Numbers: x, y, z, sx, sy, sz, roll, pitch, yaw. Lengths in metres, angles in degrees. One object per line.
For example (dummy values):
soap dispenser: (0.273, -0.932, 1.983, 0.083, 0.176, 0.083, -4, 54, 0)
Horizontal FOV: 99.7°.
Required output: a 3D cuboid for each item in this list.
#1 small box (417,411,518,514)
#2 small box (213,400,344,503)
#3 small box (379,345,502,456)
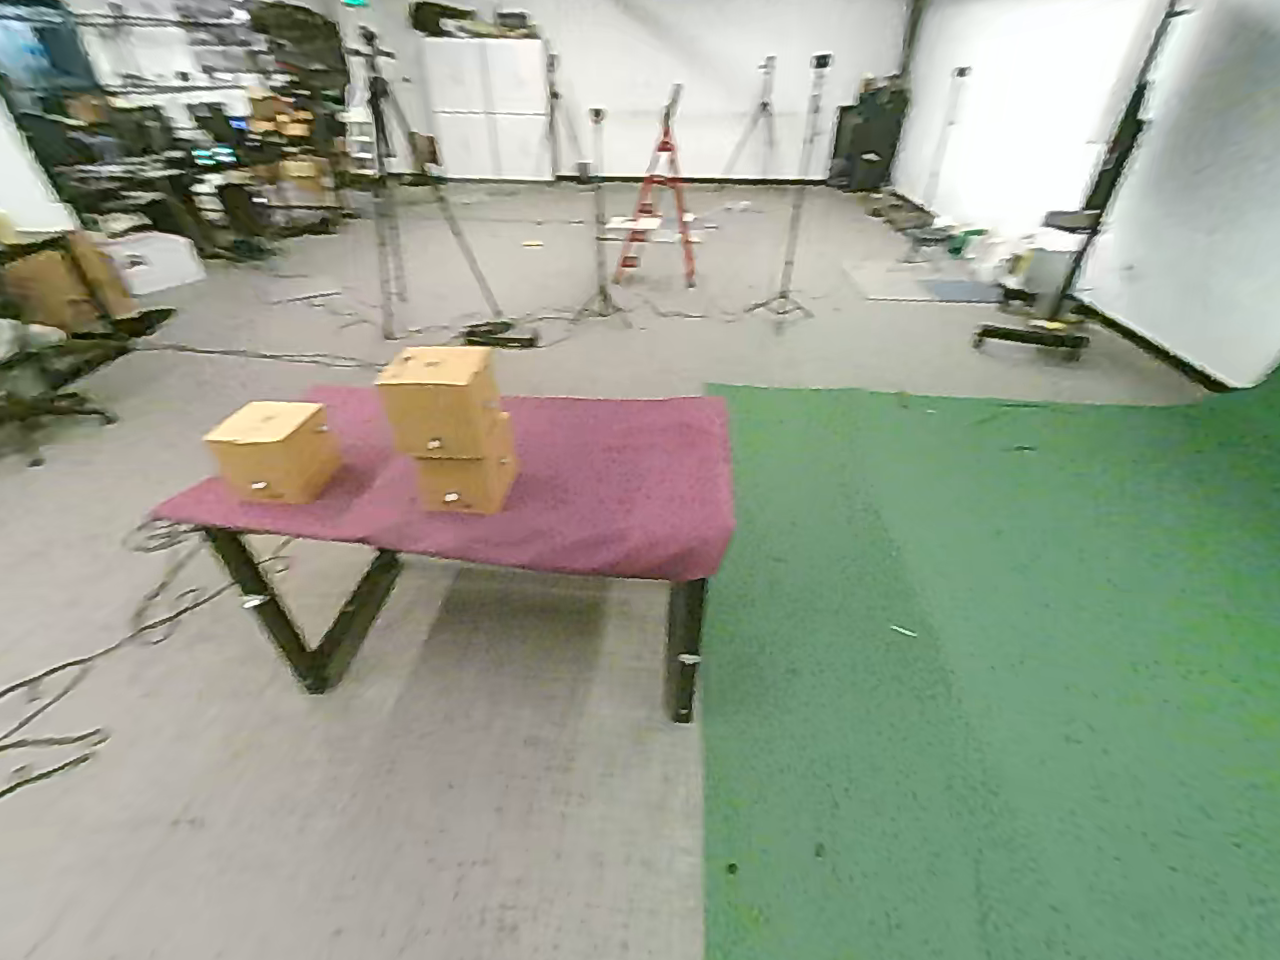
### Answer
small box: (-0.383, -0.047, 1.225, 0.168, 0.176, 0.179, 3, 37, 5)
small box: (-0.817, -0.068, 1.247, 0.168, 0.176, 0.179, 2, 36, 3)
small box: (-0.393, -0.161, 1.105, 0.179, 0.176, 0.168, 2, 37, 2)
